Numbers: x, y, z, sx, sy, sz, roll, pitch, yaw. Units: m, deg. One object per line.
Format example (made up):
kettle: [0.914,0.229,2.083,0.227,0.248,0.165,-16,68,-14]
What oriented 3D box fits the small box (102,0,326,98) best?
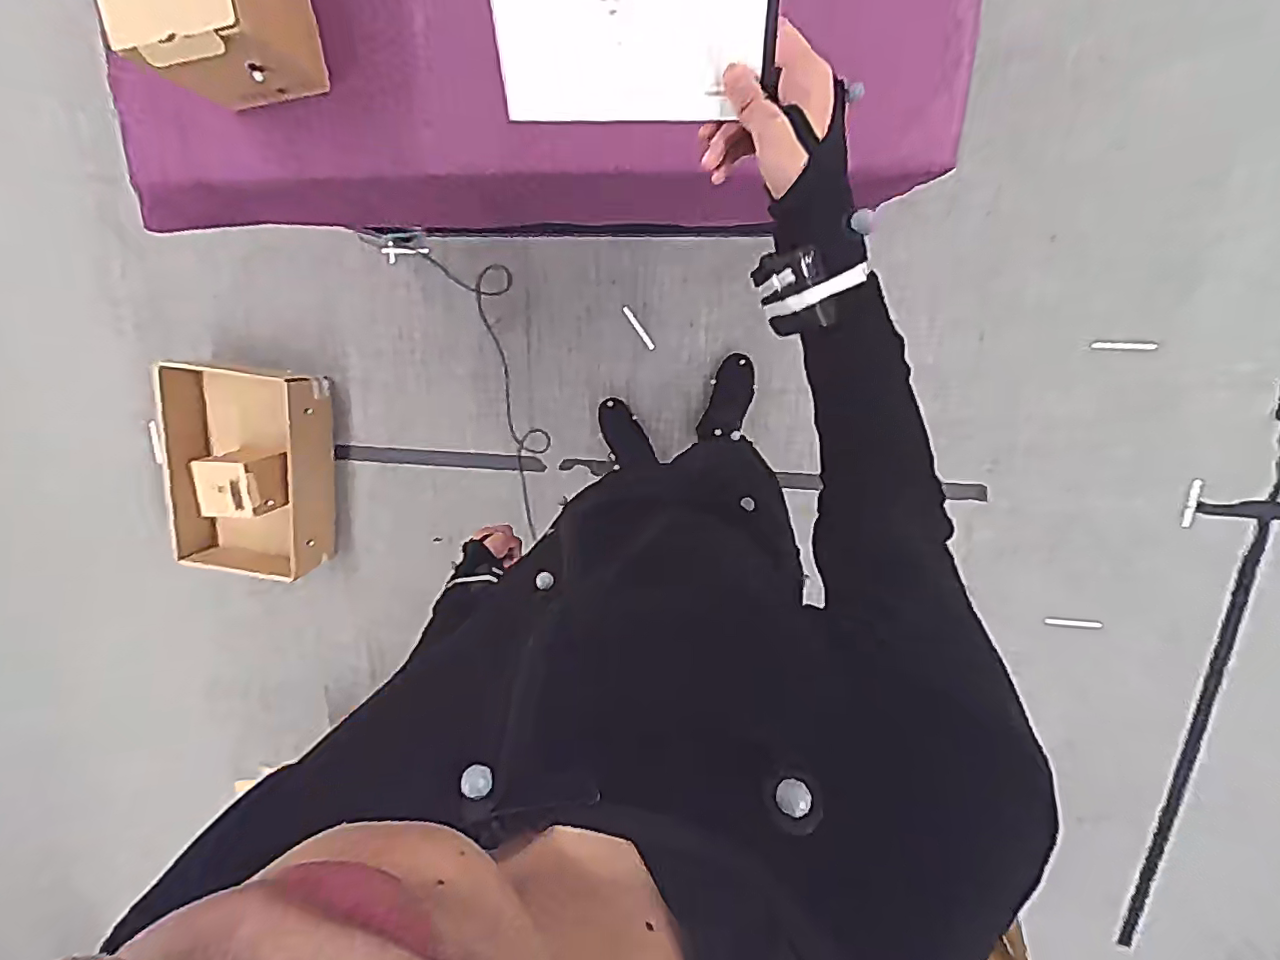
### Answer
small box: [-0.537,-0.616,0.684,0.168,0.176,0.179,-5,104,7]
